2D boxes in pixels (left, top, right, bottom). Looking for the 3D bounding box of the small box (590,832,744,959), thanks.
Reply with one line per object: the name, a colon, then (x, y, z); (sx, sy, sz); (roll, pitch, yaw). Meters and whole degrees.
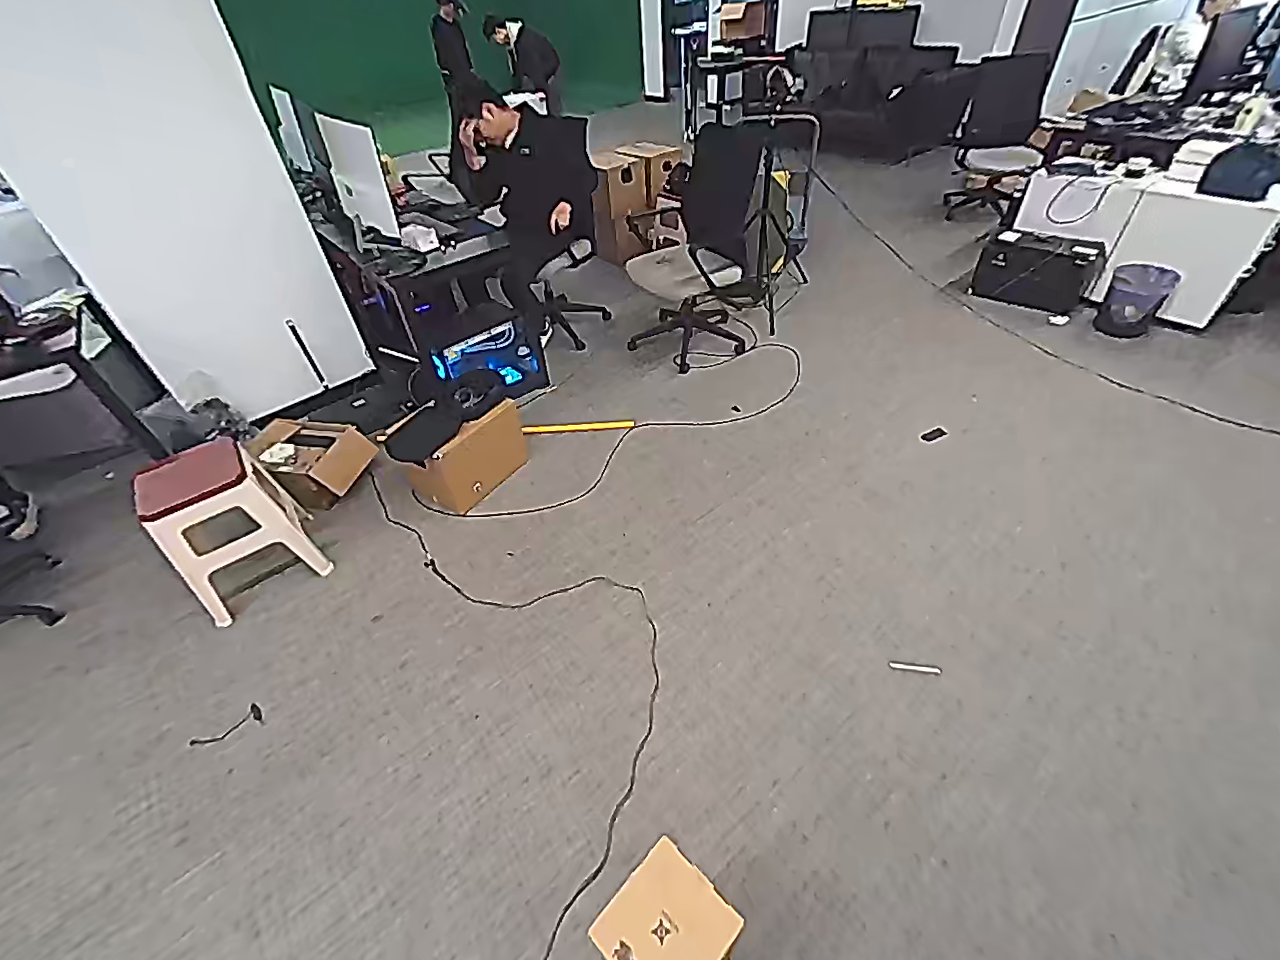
small box: (0.043, 0.717, 0.859); (0.168, 0.176, 0.179); (31, 53, 33)
